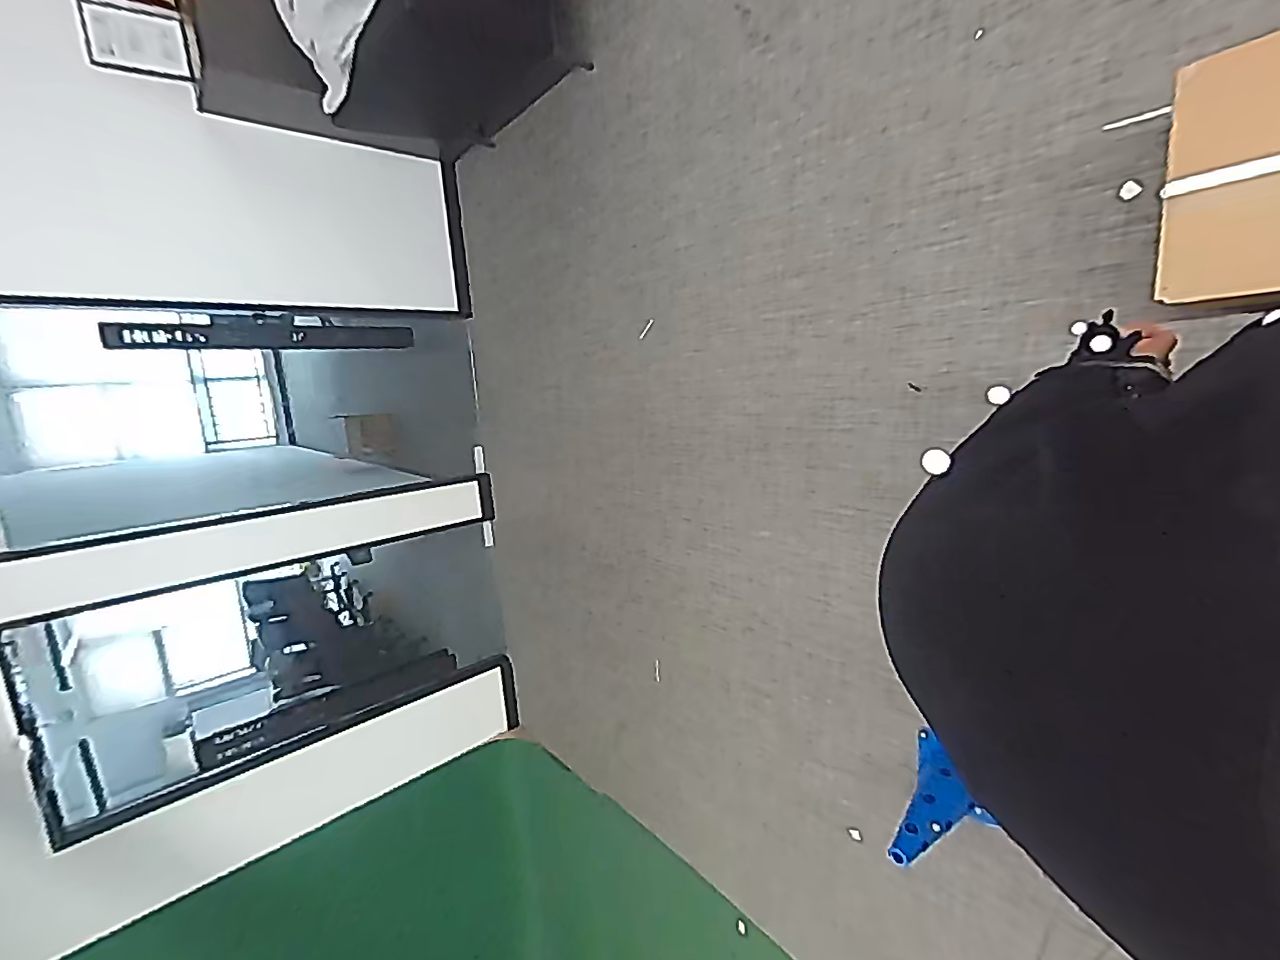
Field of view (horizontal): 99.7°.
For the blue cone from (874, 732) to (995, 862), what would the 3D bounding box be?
[{"bbox_3d":[0.678,0.791,1.291,0.192,0.380,0.193,10,106,49],"label":"blue cone"}]
